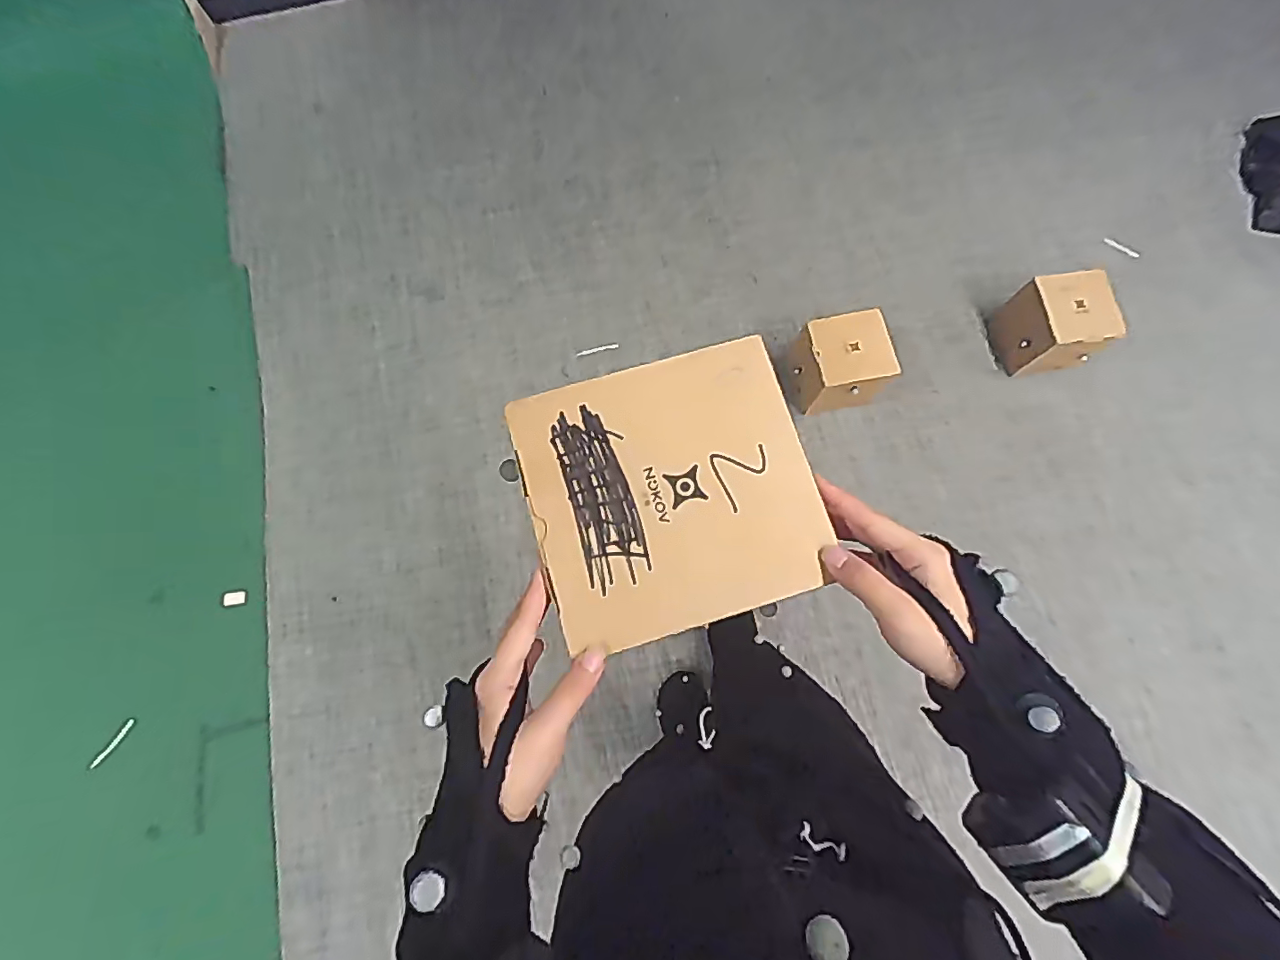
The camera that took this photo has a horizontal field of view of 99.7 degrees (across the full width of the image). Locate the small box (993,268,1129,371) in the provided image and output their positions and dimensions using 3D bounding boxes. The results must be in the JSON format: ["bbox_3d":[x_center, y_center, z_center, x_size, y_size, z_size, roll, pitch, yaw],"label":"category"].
[{"bbox_3d":[0.989,-0.372,1.287,0.168,0.176,0.179,-7,74,-2],"label":"small box"}]

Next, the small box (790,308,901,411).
[{"bbox_3d":[0.474,-0.278,1.273,0.179,0.176,0.168,-11,76,-1],"label":"small box"}]
